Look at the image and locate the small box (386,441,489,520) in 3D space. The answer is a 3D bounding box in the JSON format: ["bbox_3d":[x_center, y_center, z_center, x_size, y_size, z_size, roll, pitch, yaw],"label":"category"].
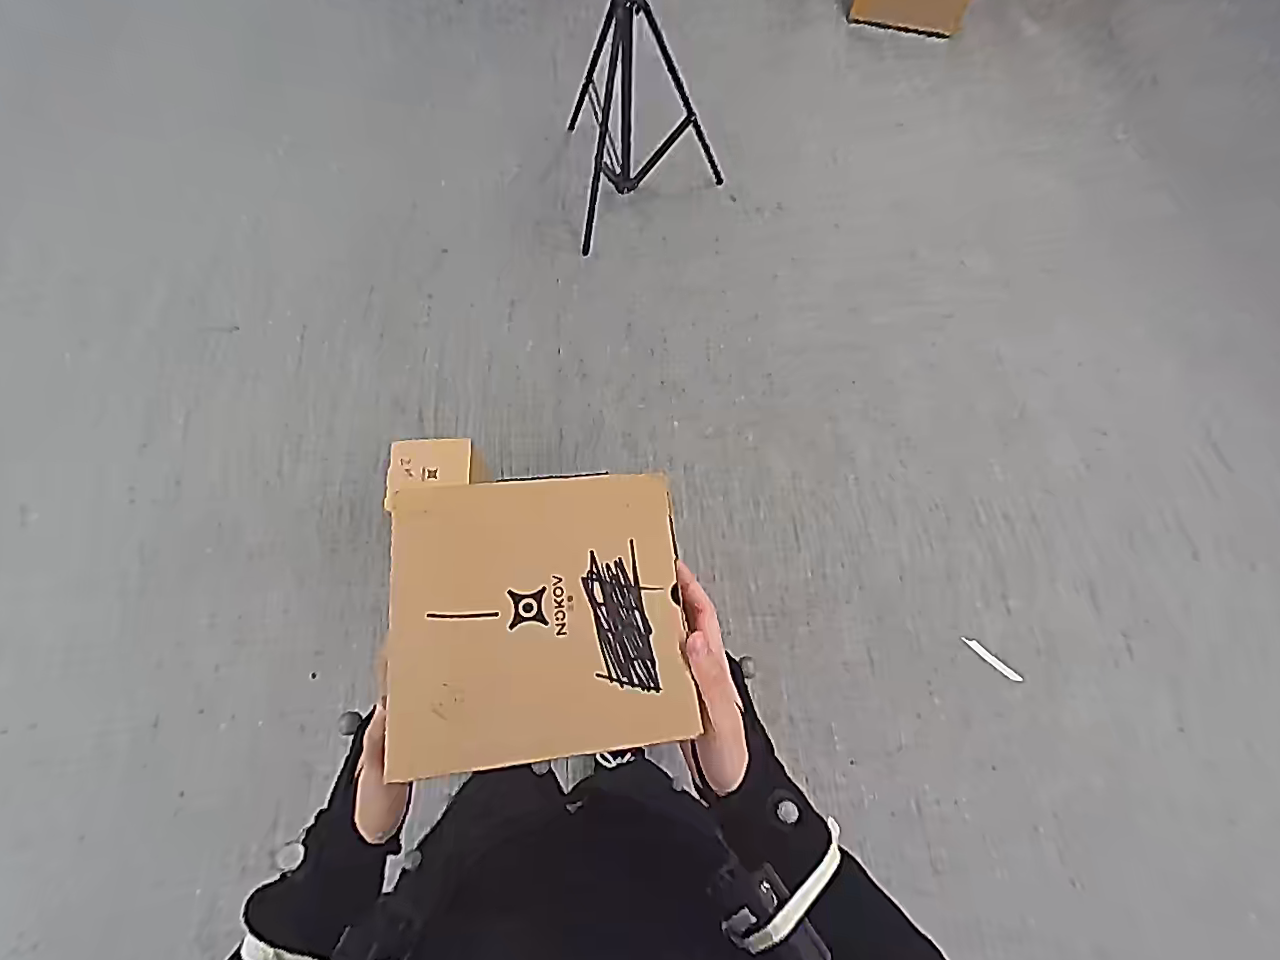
[{"bbox_3d":[-0.448,0.021,1.229,0.179,0.176,0.168,-2,67,-3],"label":"small box"}]

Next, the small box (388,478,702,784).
[{"bbox_3d":[-0.069,0.106,0.399,0.179,0.176,0.168,-4,70,-10],"label":"small box"}]
